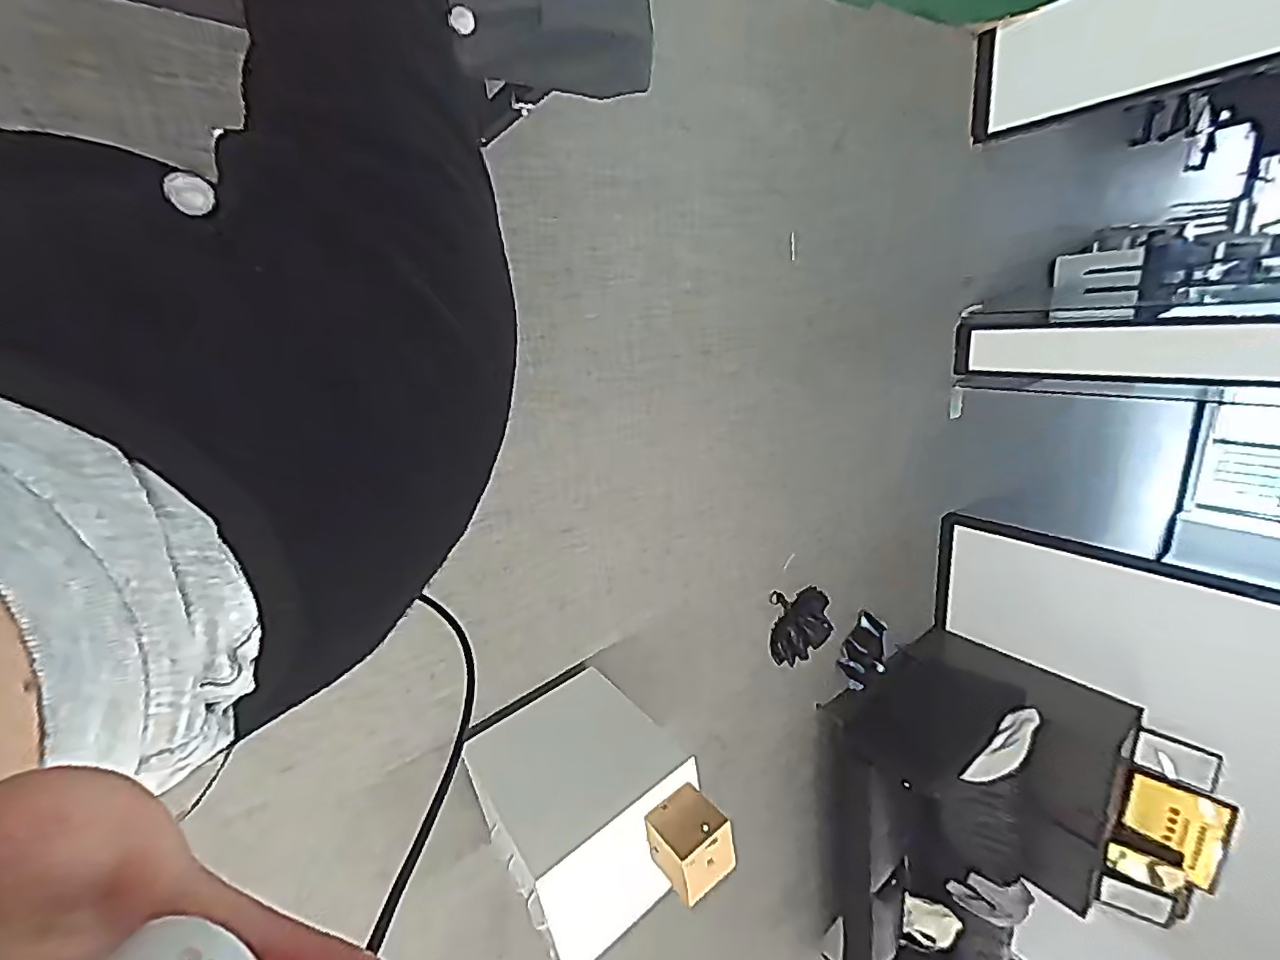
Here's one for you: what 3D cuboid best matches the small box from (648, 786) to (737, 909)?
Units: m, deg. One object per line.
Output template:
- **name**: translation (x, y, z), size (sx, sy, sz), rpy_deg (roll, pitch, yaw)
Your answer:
- **small box**: translation (0.141, 0.980, 1.457), size (0.168, 0.176, 0.179), rpy_deg (-21, 114, -30)
